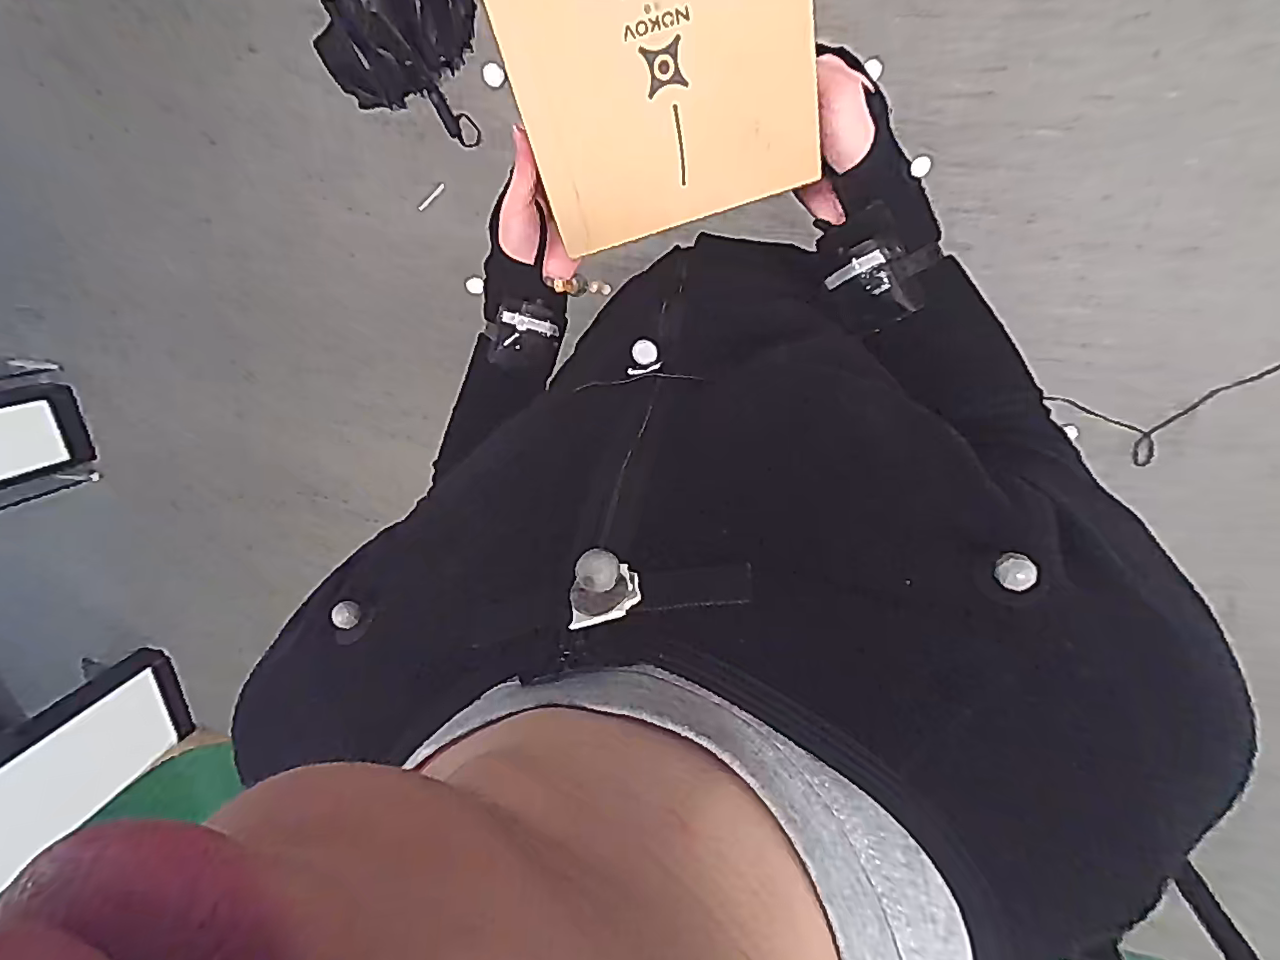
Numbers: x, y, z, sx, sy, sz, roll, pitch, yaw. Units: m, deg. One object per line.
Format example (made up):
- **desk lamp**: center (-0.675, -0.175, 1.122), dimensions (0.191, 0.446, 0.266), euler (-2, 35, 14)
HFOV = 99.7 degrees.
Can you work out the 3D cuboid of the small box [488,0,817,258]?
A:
- **small box**: center (-0.001, -0.272, 0.354), dimensions (0.168, 0.176, 0.179), euler (-17, 126, 1)
